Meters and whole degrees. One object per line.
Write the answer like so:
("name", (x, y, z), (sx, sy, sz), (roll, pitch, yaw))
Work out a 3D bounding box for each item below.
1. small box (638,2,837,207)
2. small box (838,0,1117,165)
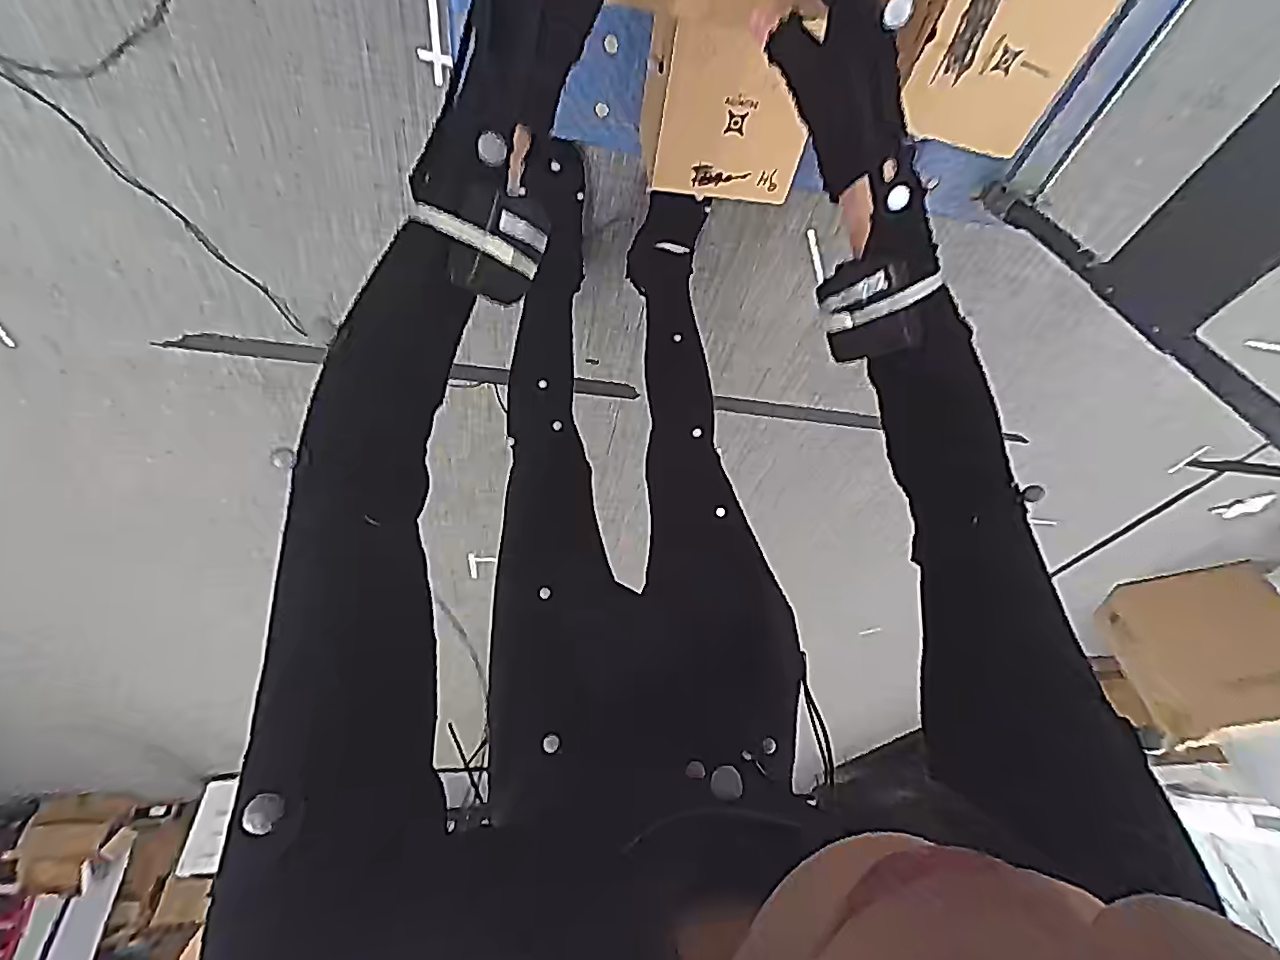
("small box", (0.094, -0.448, 0.626), (0.168, 0.176, 0.179), (2, 139, -9))
("small box", (0.355, -0.491, 0.606), (0.179, 0.176, 0.168), (5, 140, -15))
